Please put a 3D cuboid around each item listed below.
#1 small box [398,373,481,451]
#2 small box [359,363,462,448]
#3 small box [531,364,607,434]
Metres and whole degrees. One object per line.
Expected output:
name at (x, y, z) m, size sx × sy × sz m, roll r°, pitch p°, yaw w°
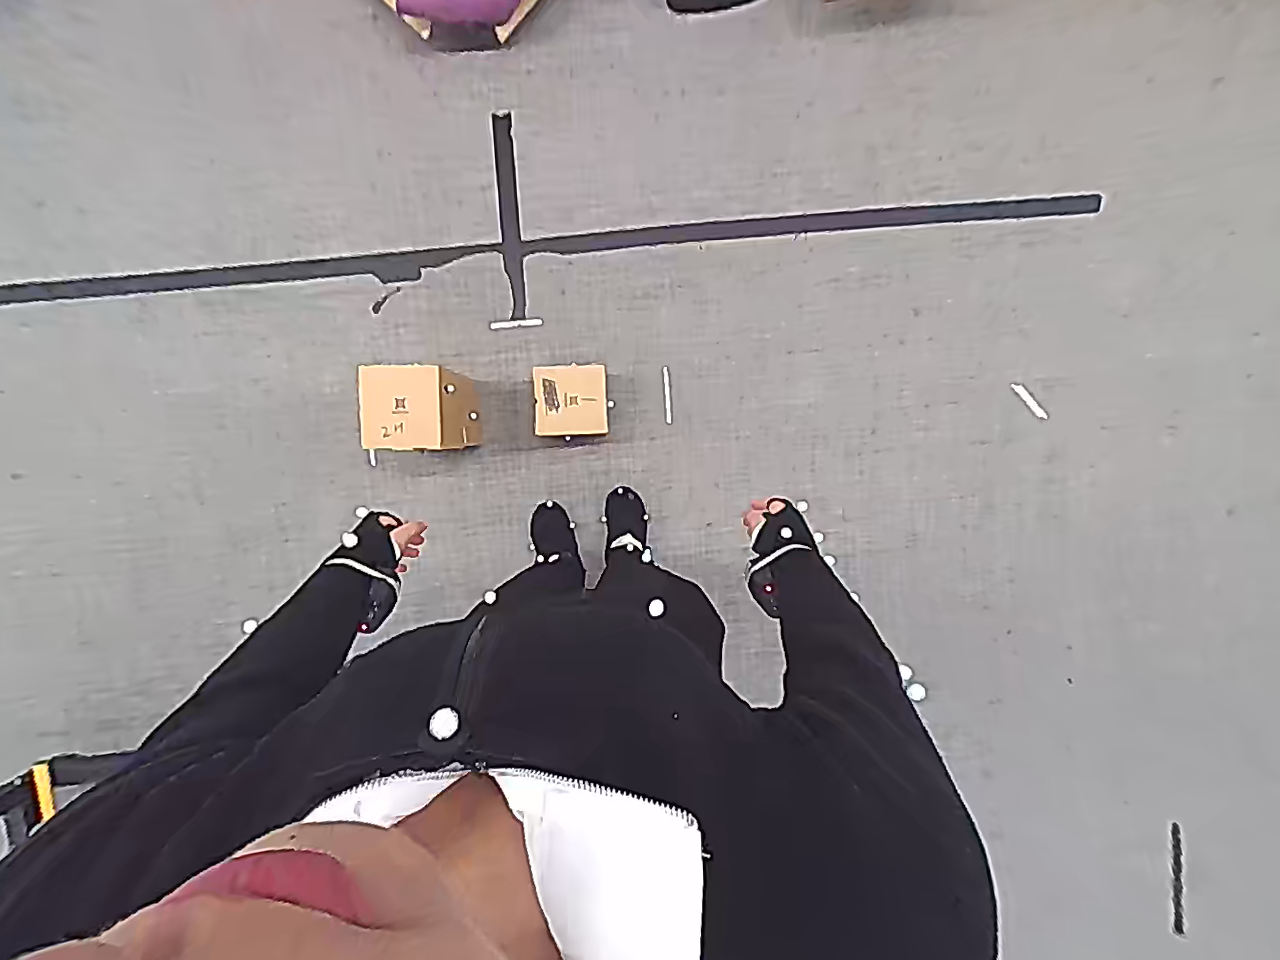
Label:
small box at (-0.509, -0.170, 1.363) m, size 0.168 × 0.176 × 0.179 m, roll -6°, pitch 96°, yaw -2°
small box at (-0.501, -0.160, 1.198) m, size 0.168 × 0.176 × 0.179 m, roll 0°, pitch 95°, yaw -2°
small box at (-0.176, -0.201, 1.377) m, size 0.179 × 0.176 × 0.168 m, roll -2°, pitch 95°, yaw -3°
